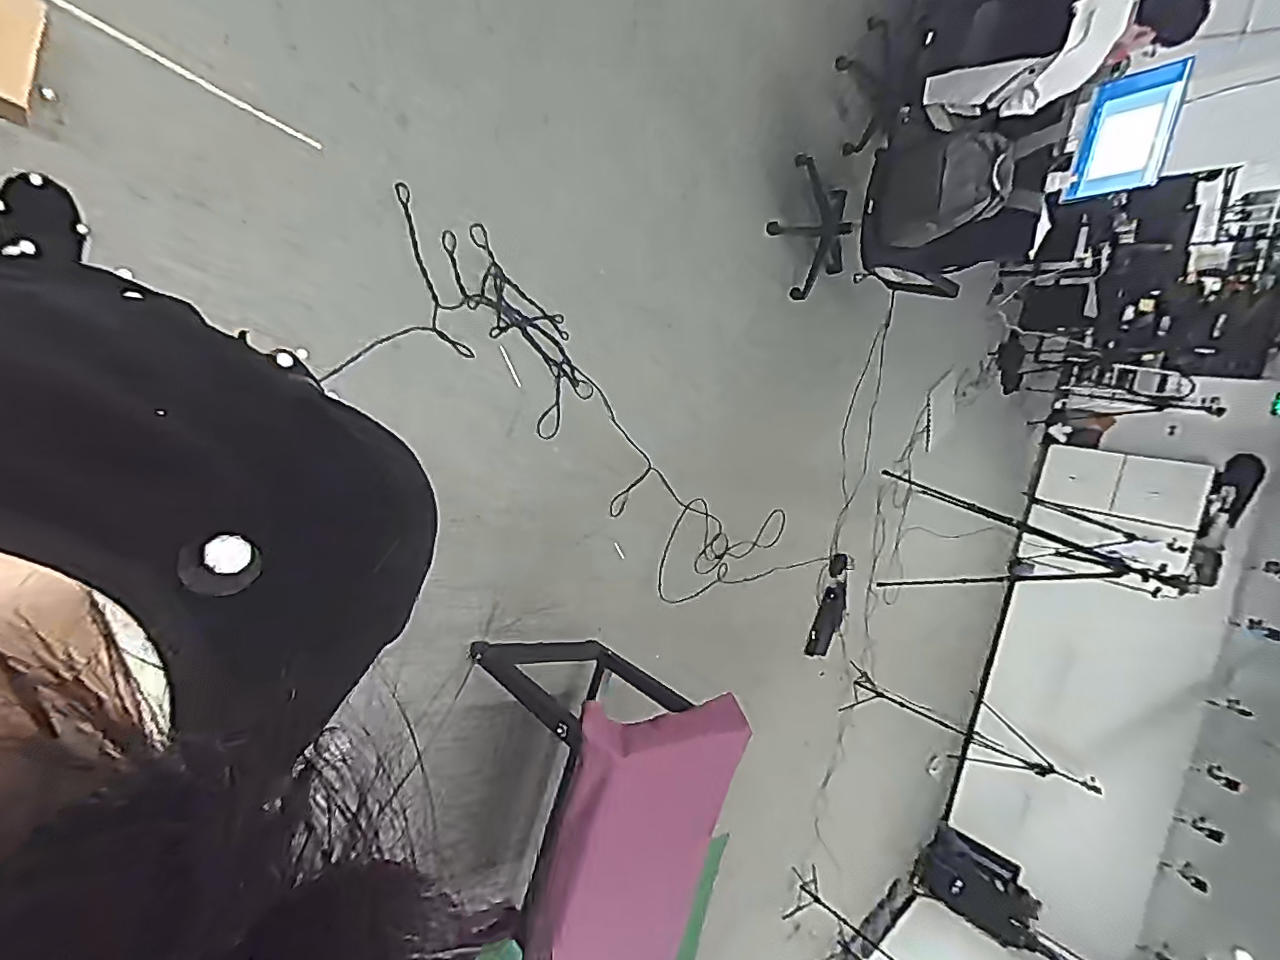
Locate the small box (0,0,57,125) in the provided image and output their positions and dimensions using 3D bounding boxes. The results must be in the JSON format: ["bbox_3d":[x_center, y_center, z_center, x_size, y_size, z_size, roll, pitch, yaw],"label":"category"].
[{"bbox_3d":[-1.048,-0.689,0.833,0.179,0.176,0.168,14,92,-46],"label":"small box"}]
